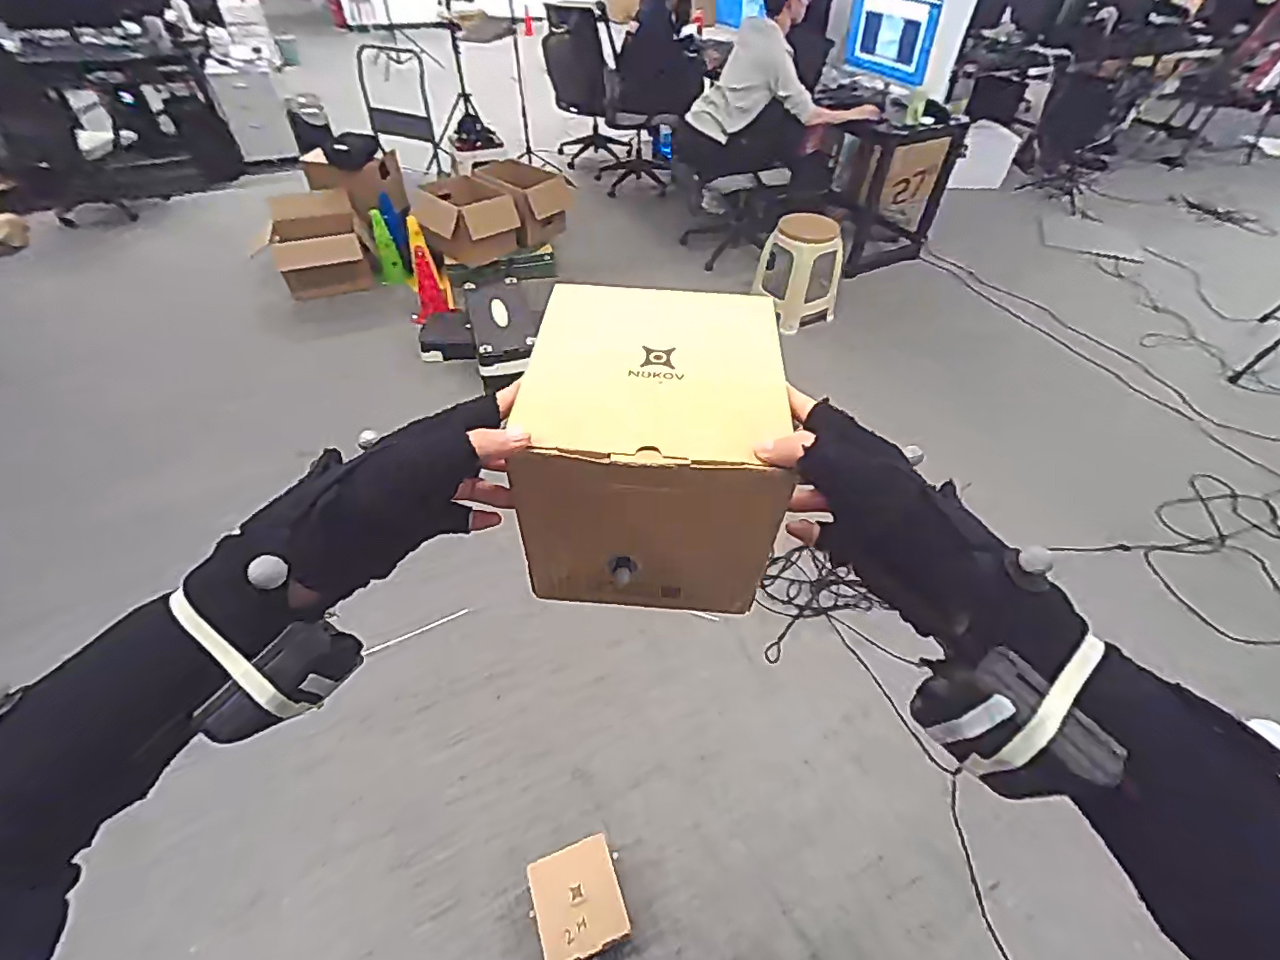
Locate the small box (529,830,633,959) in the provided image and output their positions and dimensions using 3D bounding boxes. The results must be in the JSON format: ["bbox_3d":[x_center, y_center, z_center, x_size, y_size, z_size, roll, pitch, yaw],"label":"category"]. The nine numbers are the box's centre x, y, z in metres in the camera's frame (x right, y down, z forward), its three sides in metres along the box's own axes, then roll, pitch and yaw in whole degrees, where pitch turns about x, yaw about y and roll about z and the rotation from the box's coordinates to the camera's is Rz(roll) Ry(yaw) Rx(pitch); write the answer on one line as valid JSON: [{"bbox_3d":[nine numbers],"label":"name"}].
[{"bbox_3d":[-0.121,0.866,1.116,0.168,0.176,0.179,-16,49,-14],"label":"small box"}]
